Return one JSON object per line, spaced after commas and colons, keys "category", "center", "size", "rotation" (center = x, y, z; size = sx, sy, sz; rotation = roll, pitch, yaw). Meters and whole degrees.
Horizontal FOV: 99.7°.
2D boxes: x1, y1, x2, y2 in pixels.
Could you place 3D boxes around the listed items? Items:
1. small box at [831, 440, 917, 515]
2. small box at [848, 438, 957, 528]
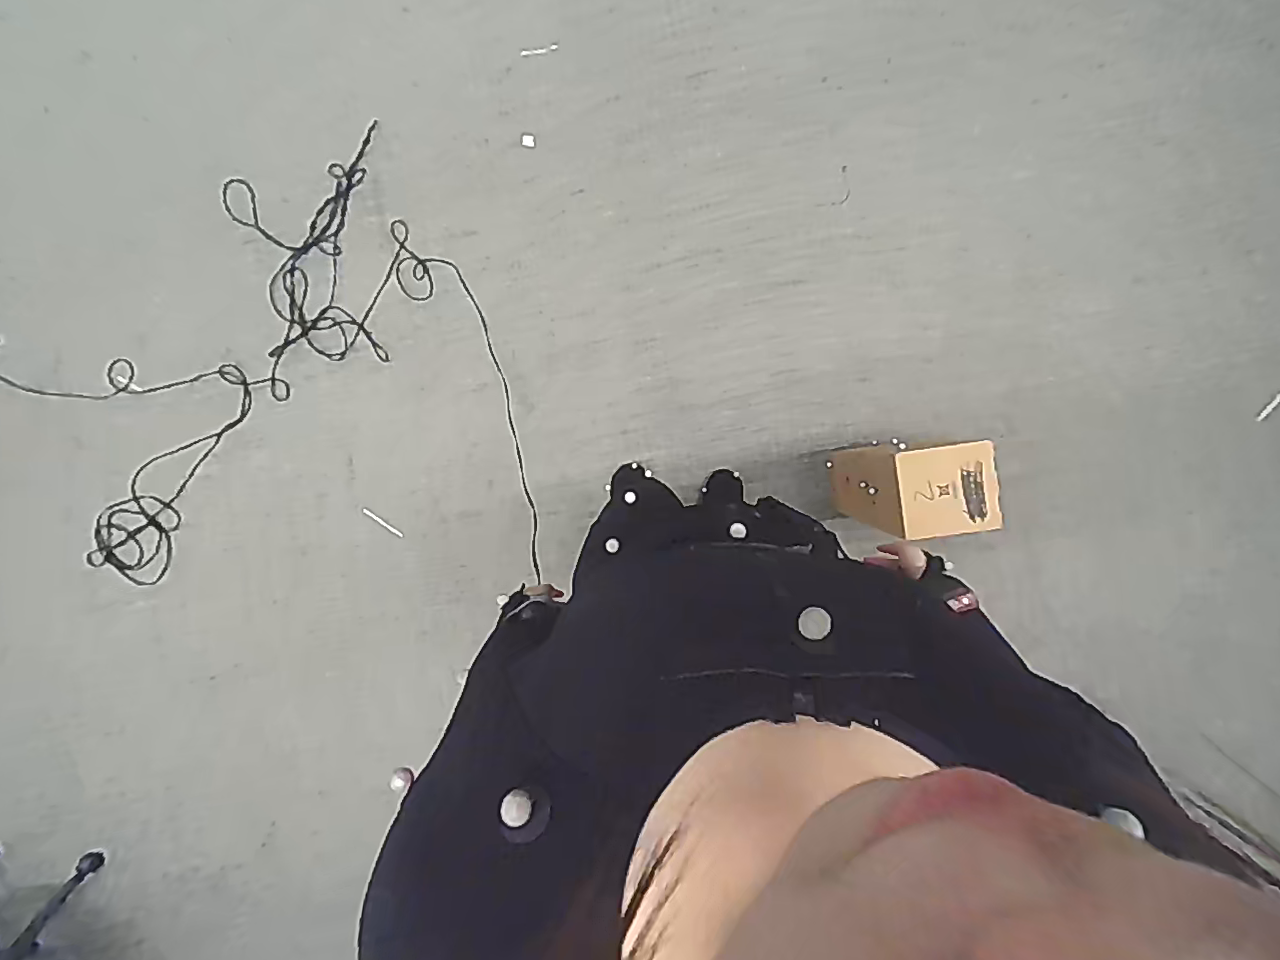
{"category": "small box", "center": [0.604, -0.007, 1.391], "size": [0.179, 0.176, 0.168], "rotation": [-8, 93, 4]}
{"category": "small box", "center": [0.587, 0.005, 1.227], "size": [0.168, 0.176, 0.179], "rotation": [-8, 93, 5]}
